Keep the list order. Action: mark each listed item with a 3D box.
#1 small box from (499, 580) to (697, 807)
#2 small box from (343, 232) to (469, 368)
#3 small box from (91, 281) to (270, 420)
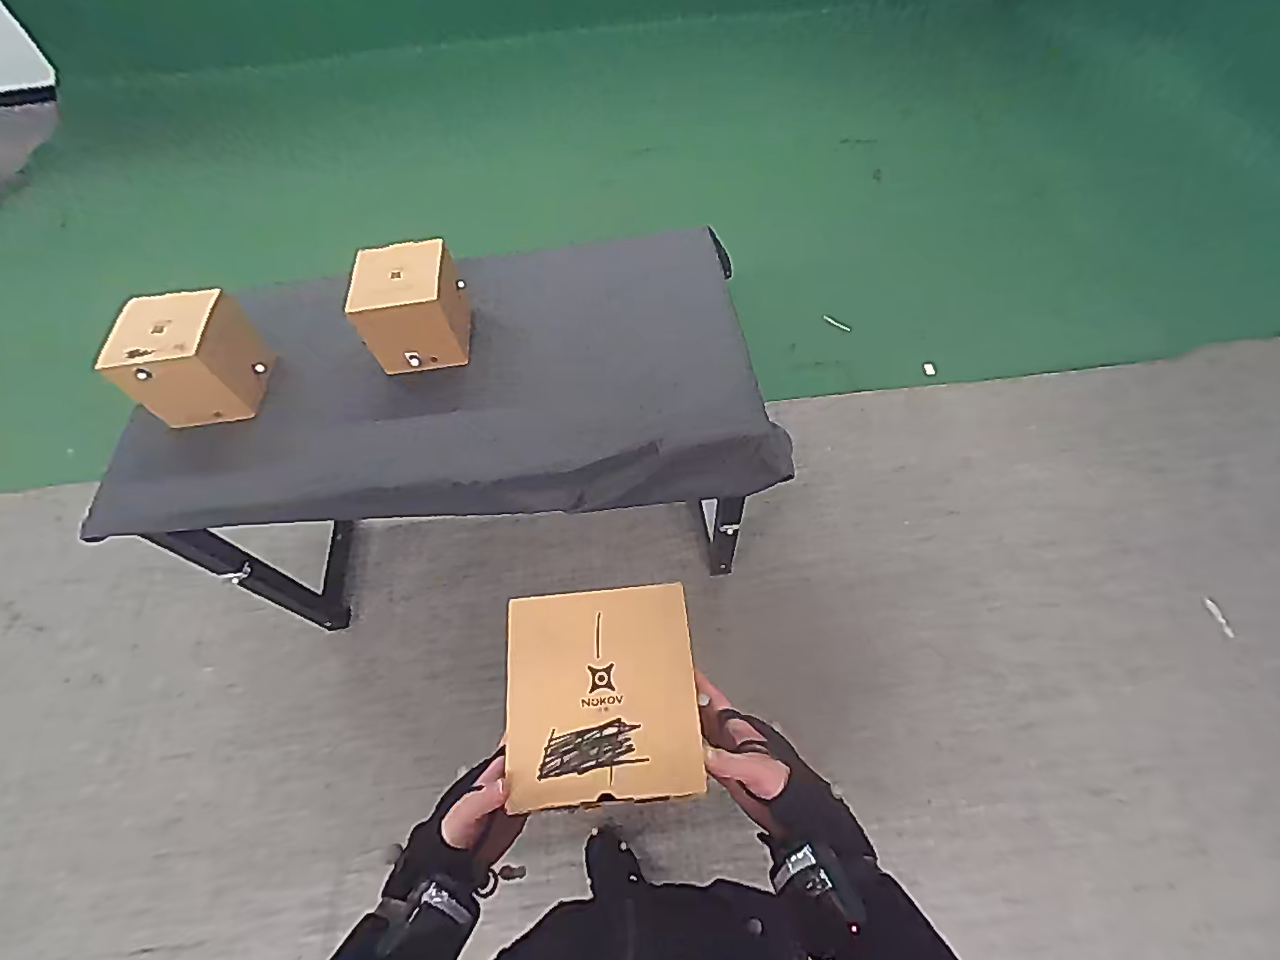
[{"bbox_3d":[-0.035,0.211,0.542,0.168,0.176,0.179,-5,64,0],"label":"small box"},{"bbox_3d":[-0.441,-0.345,1.047,0.168,0.176,0.179,-9,61,0],"label":"small box"},{"bbox_3d":[-0.832,-0.237,1.004,0.168,0.176,0.179,-8,59,-1],"label":"small box"}]
